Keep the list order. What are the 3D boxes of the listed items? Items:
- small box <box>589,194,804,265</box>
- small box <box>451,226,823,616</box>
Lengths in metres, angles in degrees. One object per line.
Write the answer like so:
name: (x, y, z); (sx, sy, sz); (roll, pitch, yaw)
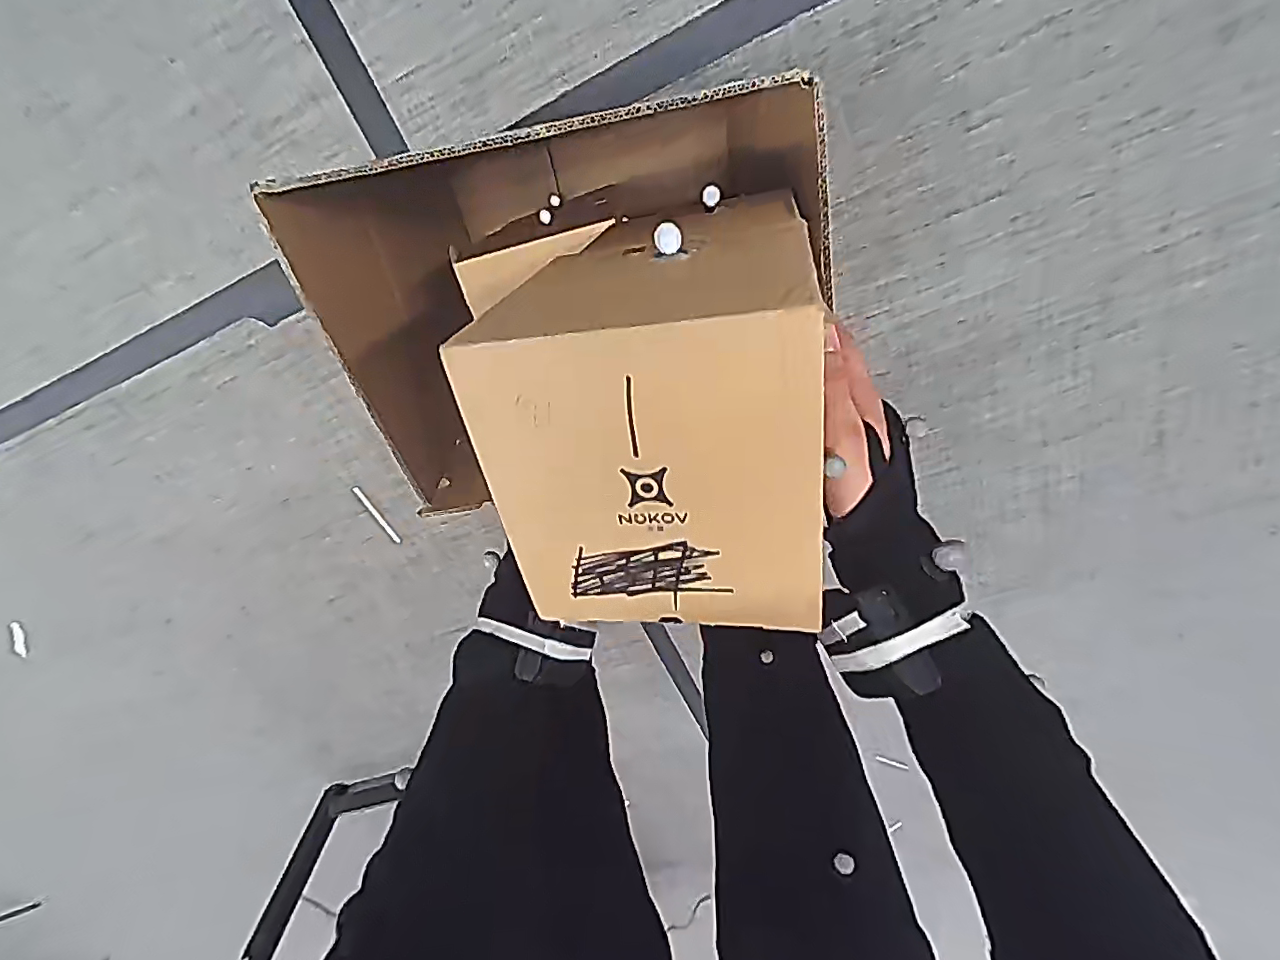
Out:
small box: (0.056, -0.129, 0.471); (0.168, 0.176, 0.179); (-4, 123, 15)
small box: (0.020, -0.040, 0.336); (0.168, 0.176, 0.179); (-2, 124, 14)
